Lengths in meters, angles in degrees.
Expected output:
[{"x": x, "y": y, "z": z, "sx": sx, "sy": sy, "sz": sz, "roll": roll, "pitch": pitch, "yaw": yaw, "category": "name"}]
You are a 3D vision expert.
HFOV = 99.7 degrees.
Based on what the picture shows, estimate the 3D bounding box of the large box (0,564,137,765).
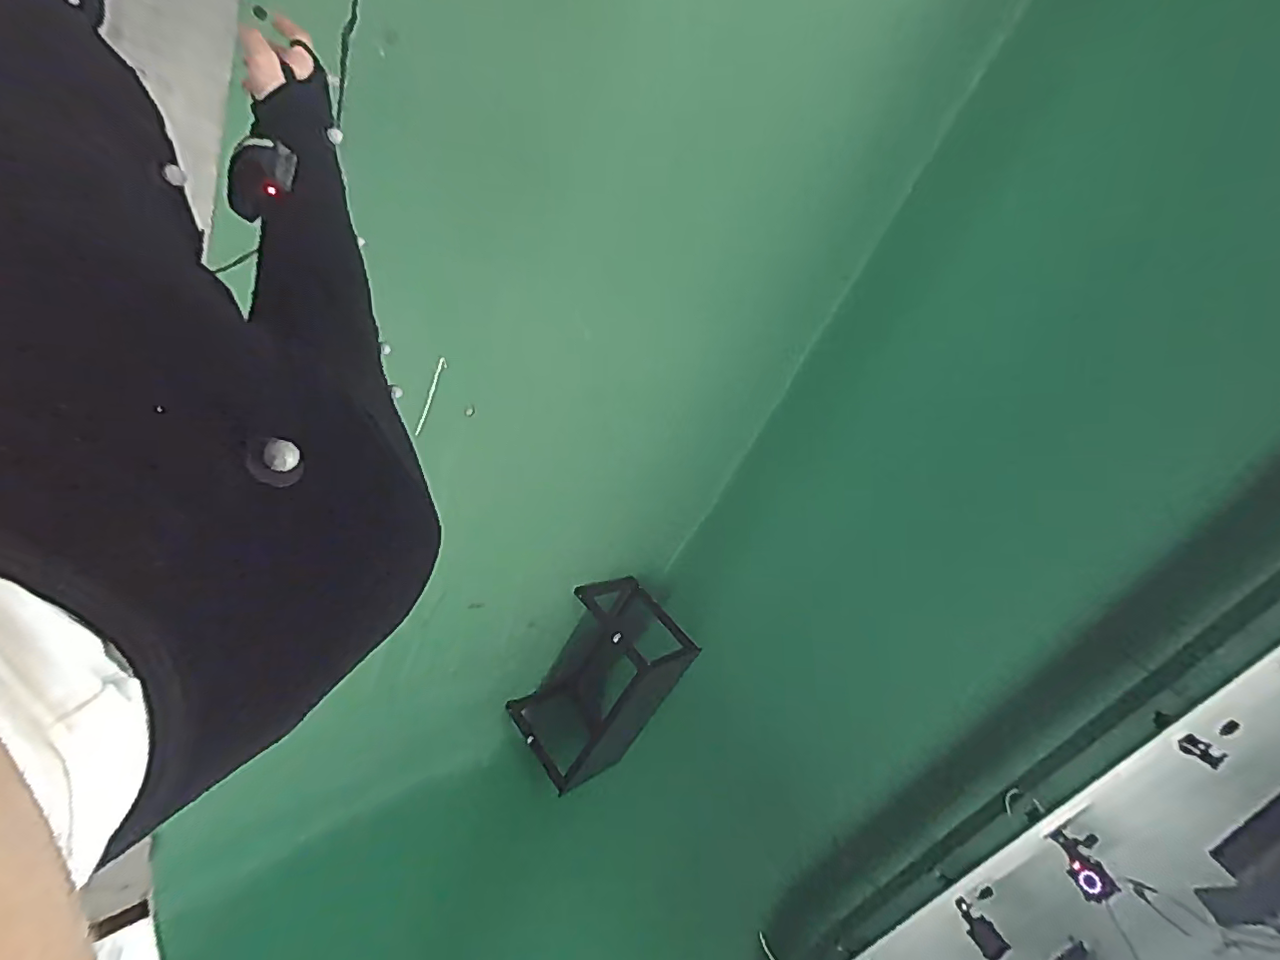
[{"x": -1.677, "y": 0.502, "z": 1.417, "sx": 0.408, "sy": 0.320, "sz": 0.320, "roll": -32, "pitch": 148, "yaw": -25, "category": "large box"}]
